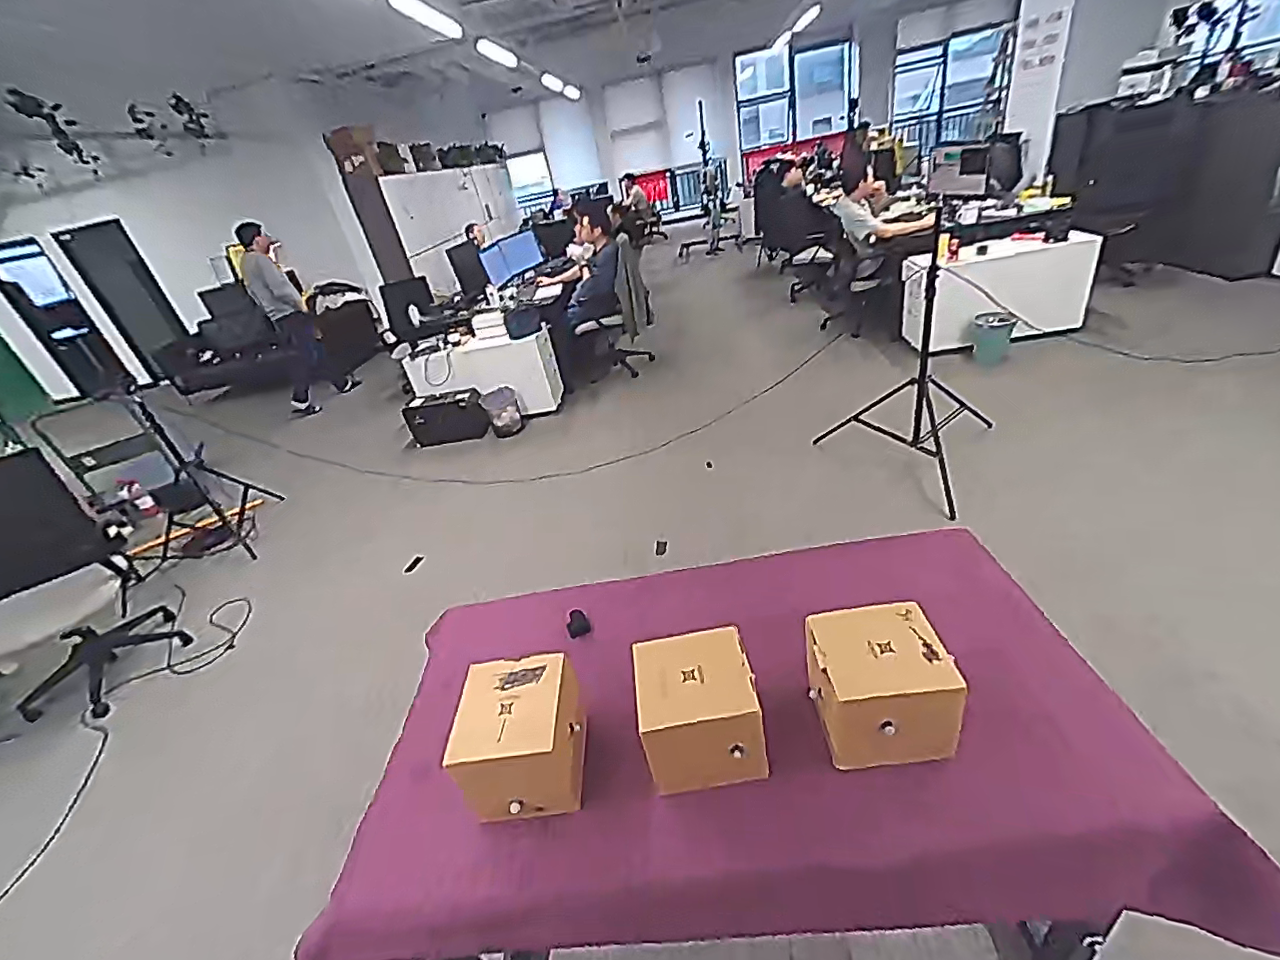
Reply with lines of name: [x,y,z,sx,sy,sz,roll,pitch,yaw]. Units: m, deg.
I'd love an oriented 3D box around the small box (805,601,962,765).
small box: [0.370,0.318,0.843,0.179,0.176,0.168,-10,30,6]

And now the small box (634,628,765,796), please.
small box: [0.095,0.369,0.863,0.179,0.176,0.168,-13,29,2]
